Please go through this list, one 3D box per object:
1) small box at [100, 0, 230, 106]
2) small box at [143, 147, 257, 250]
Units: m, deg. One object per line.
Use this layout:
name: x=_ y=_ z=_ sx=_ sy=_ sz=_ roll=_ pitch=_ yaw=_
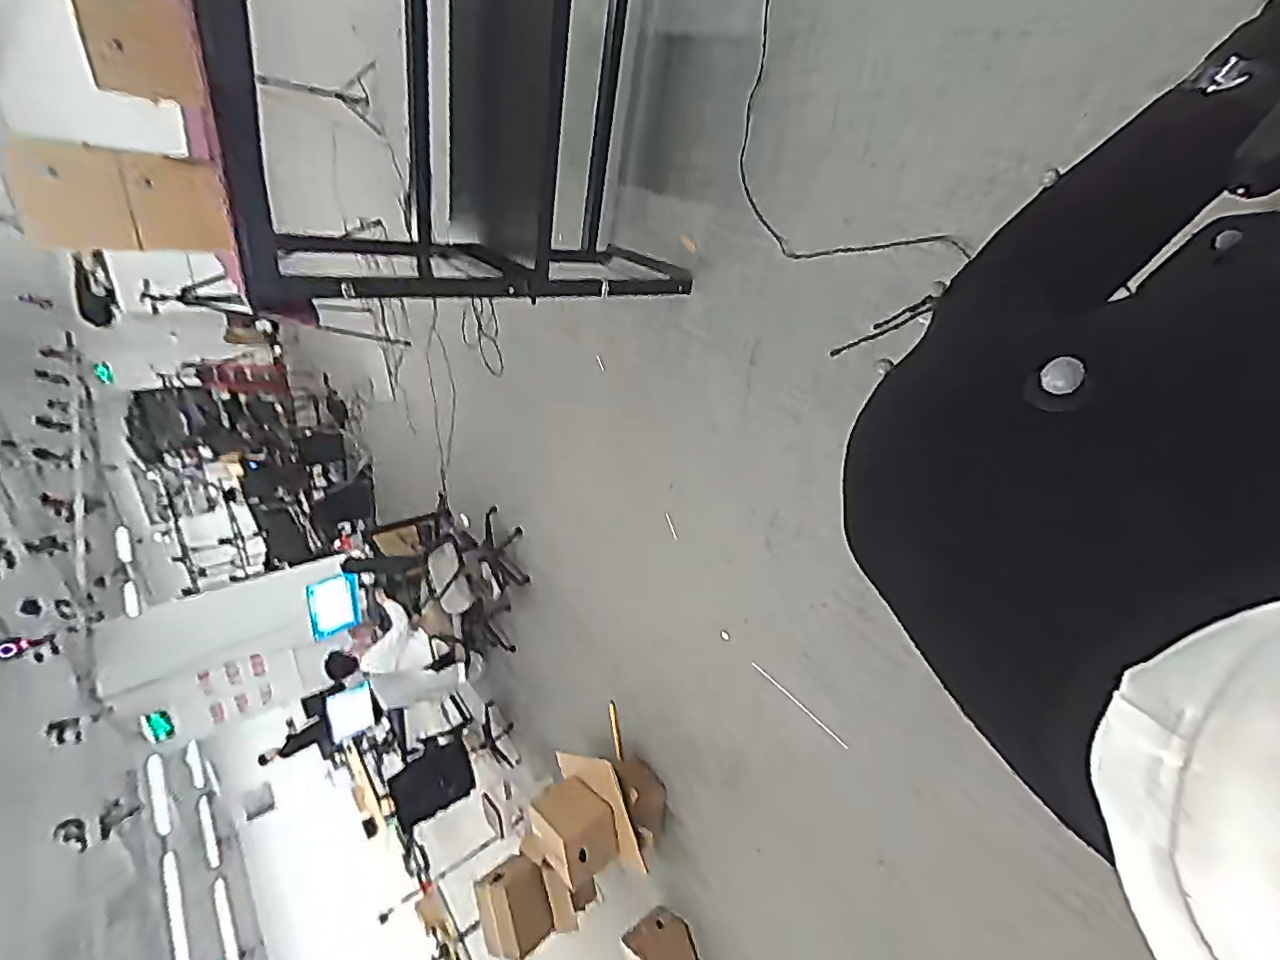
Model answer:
small box: x=-0.945 y=-0.870 z=1.080 sx=0.168 sy=0.176 sz=0.179 roll=41 pitch=132 yaw=36
small box: x=-0.988 y=-0.630 z=1.222 sx=0.168 sy=0.176 sz=0.179 roll=40 pitch=130 yaw=37
